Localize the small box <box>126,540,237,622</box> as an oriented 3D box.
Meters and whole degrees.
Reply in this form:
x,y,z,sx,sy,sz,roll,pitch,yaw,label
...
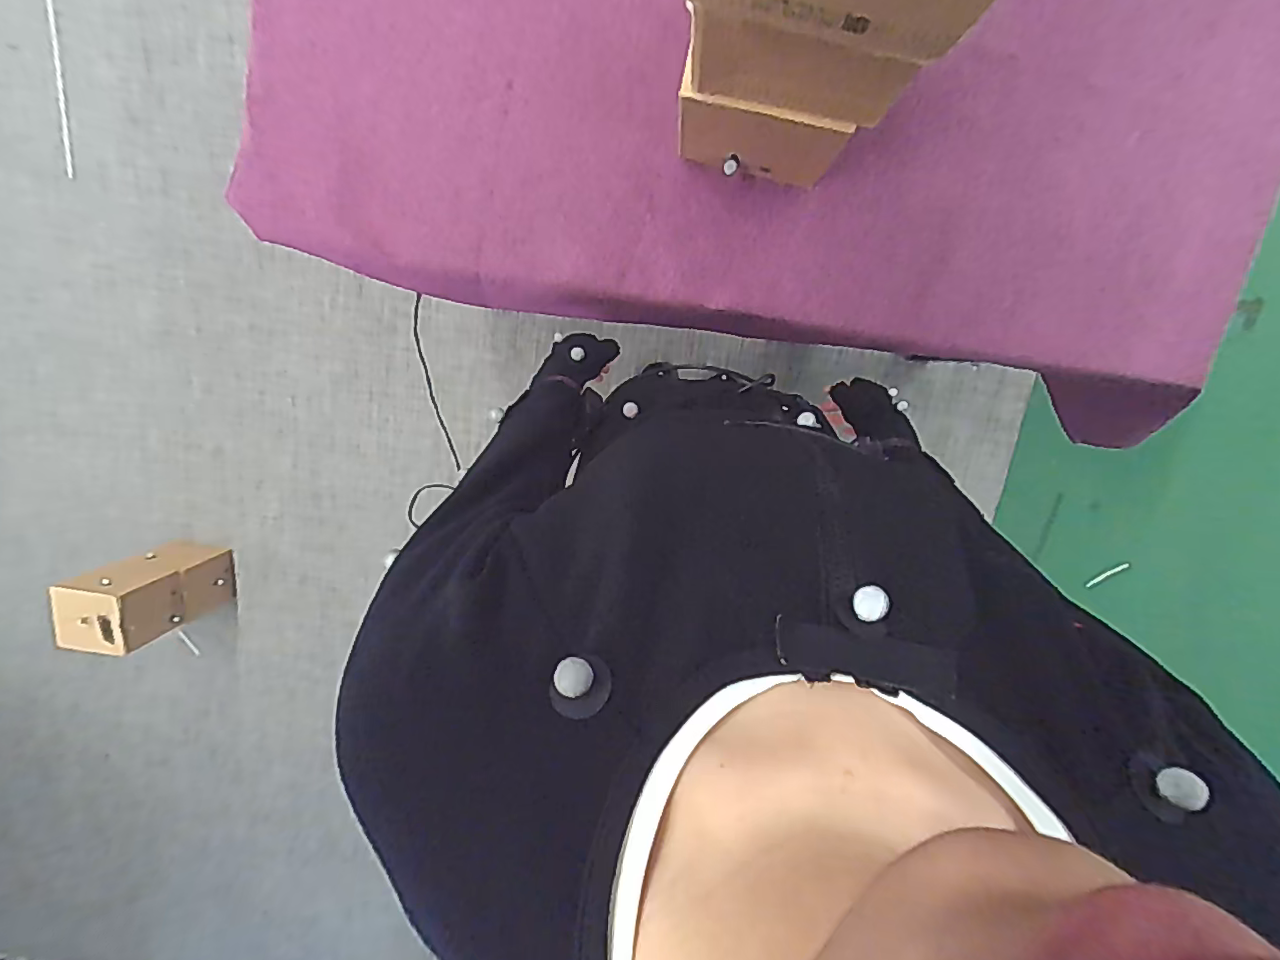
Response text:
x,y,z,sx,sy,sz,roll,pitch,yaw,label
-1.306,0.283,1.550,0.179,0.176,0.168,8,104,1,small box

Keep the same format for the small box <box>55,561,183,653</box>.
x,y,z,sx,sy,sz,roll,pitch,yaw,label
-1.323,0.320,1.390,0.179,0.176,0.168,8,104,2,small box

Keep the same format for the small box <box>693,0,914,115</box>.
x,y,z,sx,sy,sz,roll,pitch,yaw,label
0.138,-0.396,0.388,0.179,0.176,0.168,12,104,1,small box

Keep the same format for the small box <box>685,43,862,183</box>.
x,y,z,sx,sy,sz,roll,pitch,yaw,label
0.141,-0.433,0.545,0.168,0.176,0.179,14,104,1,small box
